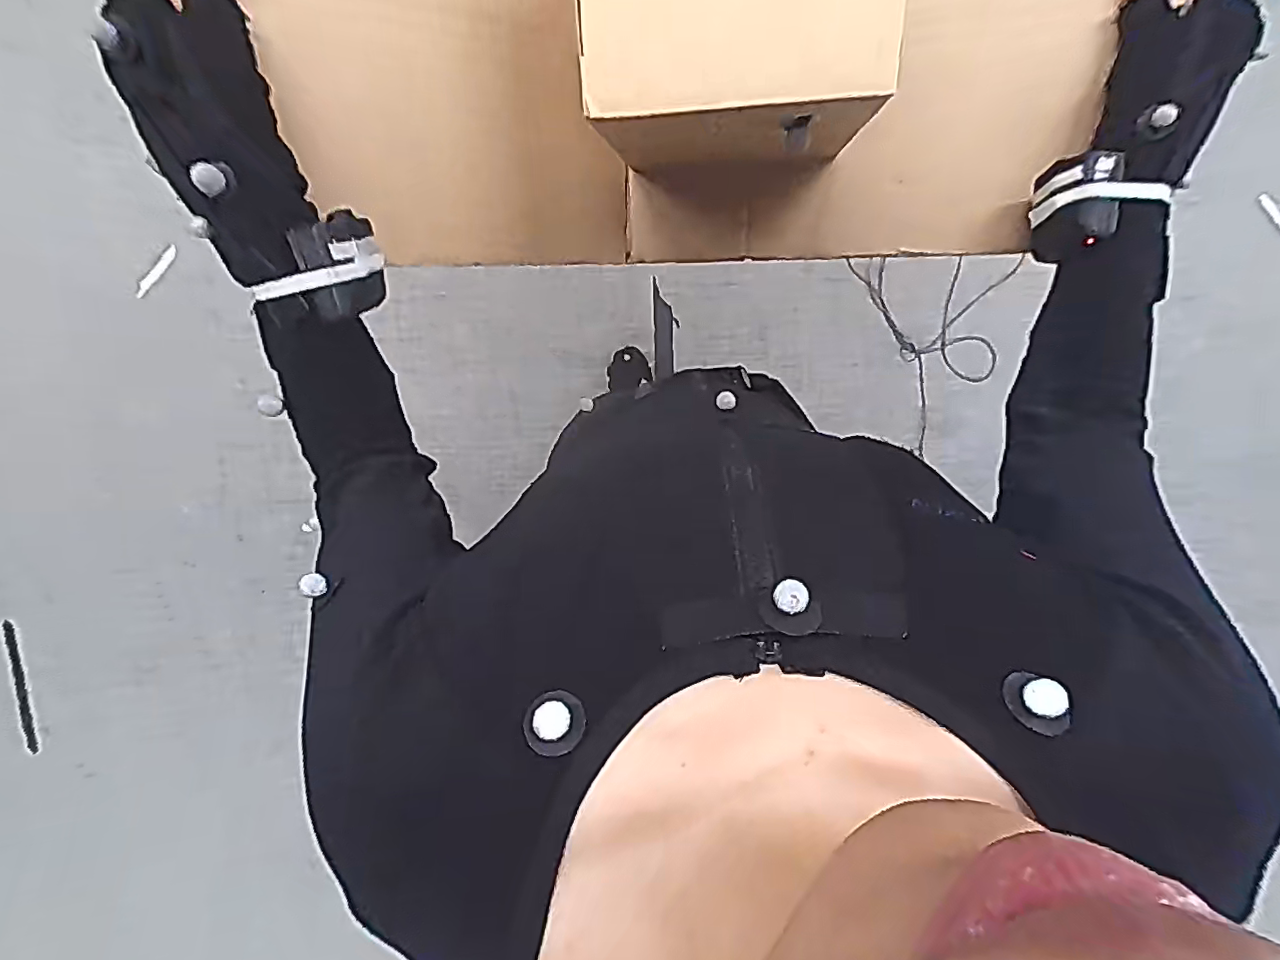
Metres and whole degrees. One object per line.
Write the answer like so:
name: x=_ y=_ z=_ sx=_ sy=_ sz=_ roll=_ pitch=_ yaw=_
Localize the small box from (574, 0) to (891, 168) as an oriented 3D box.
small box: x=0.059 y=-0.319 z=0.362 sx=0.179 sy=0.176 sz=0.168 roll=2 pitch=111 yaw=9
